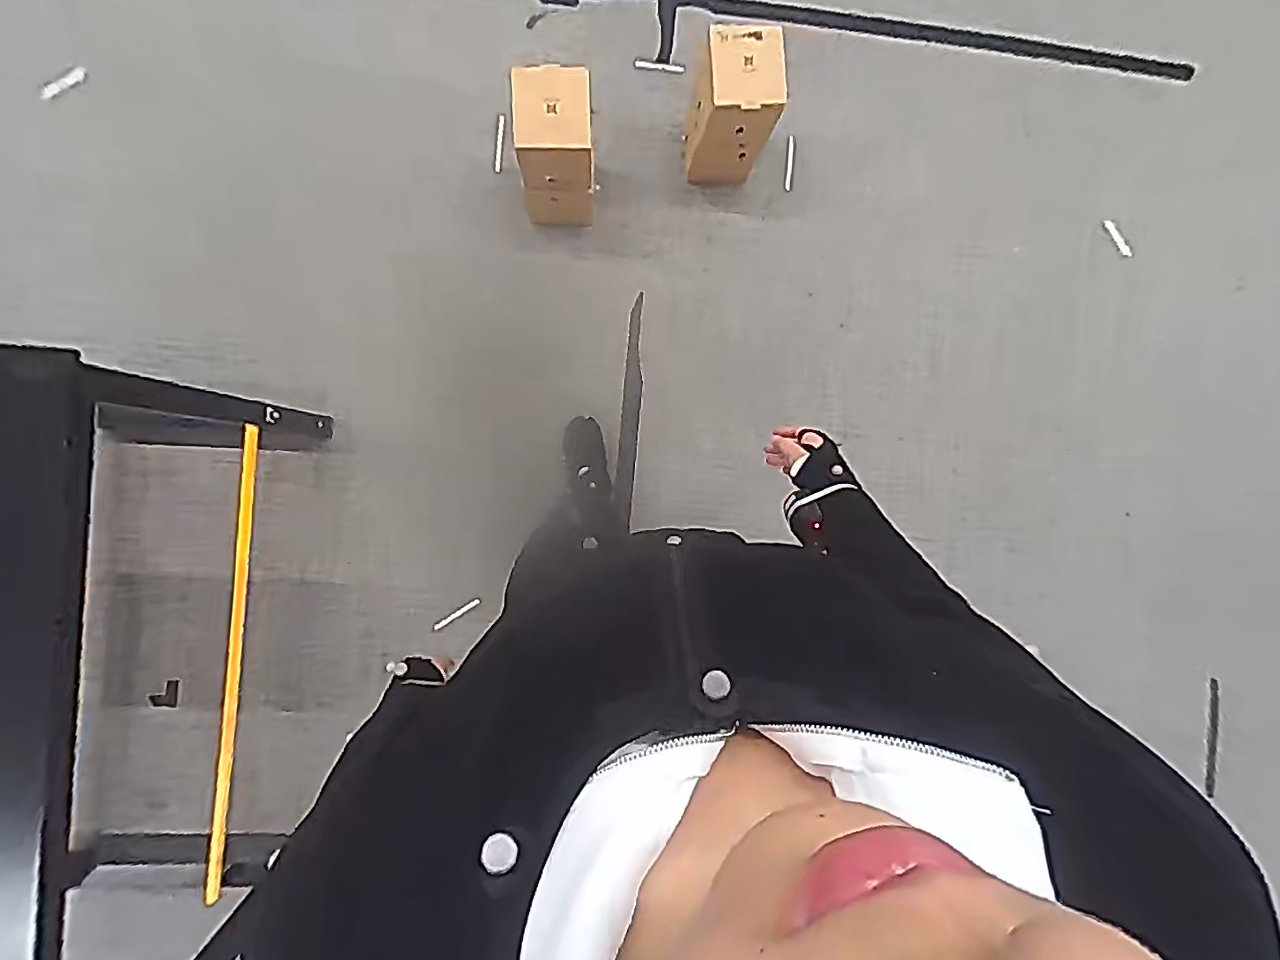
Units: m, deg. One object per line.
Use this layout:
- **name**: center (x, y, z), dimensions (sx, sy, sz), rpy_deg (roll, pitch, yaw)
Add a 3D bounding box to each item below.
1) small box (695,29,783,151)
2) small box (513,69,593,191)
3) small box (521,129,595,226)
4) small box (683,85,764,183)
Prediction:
- **small box**: center (0.226, -0.899, 1.261), dimensions (0.168, 0.176, 0.179), rpy_deg (-3, 91, -5)
- **small box**: center (-0.191, -0.784, 1.224), dimensions (0.168, 0.176, 0.179), rpy_deg (-3, 91, -3)
- **small box**: center (-0.206, -0.773, 1.386), dimensions (0.179, 0.176, 0.168), rpy_deg (1, 90, -5)
- **small box**: center (0.214, -0.908, 1.424), dimensions (0.179, 0.176, 0.168), rpy_deg (-2, 90, -5)
